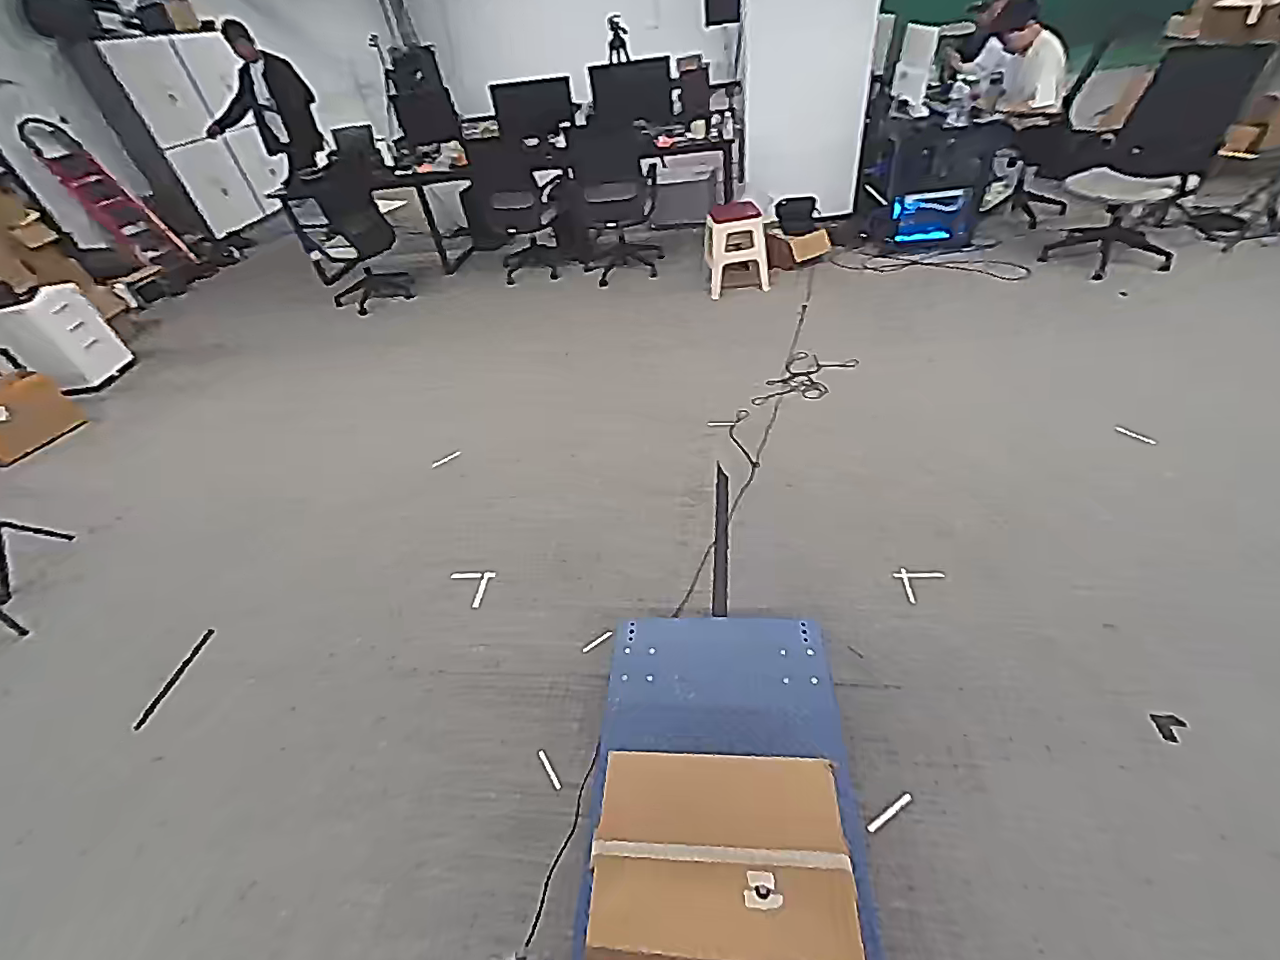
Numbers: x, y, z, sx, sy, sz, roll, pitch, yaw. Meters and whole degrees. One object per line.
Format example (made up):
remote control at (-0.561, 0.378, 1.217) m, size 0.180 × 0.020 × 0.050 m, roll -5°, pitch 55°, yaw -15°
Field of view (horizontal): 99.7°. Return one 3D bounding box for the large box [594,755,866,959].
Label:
large box at (0.150, 0.728, 0.983) m, size 0.408 × 0.320 × 0.320 m, roll -2°, pitch 42°, yaw 8°
